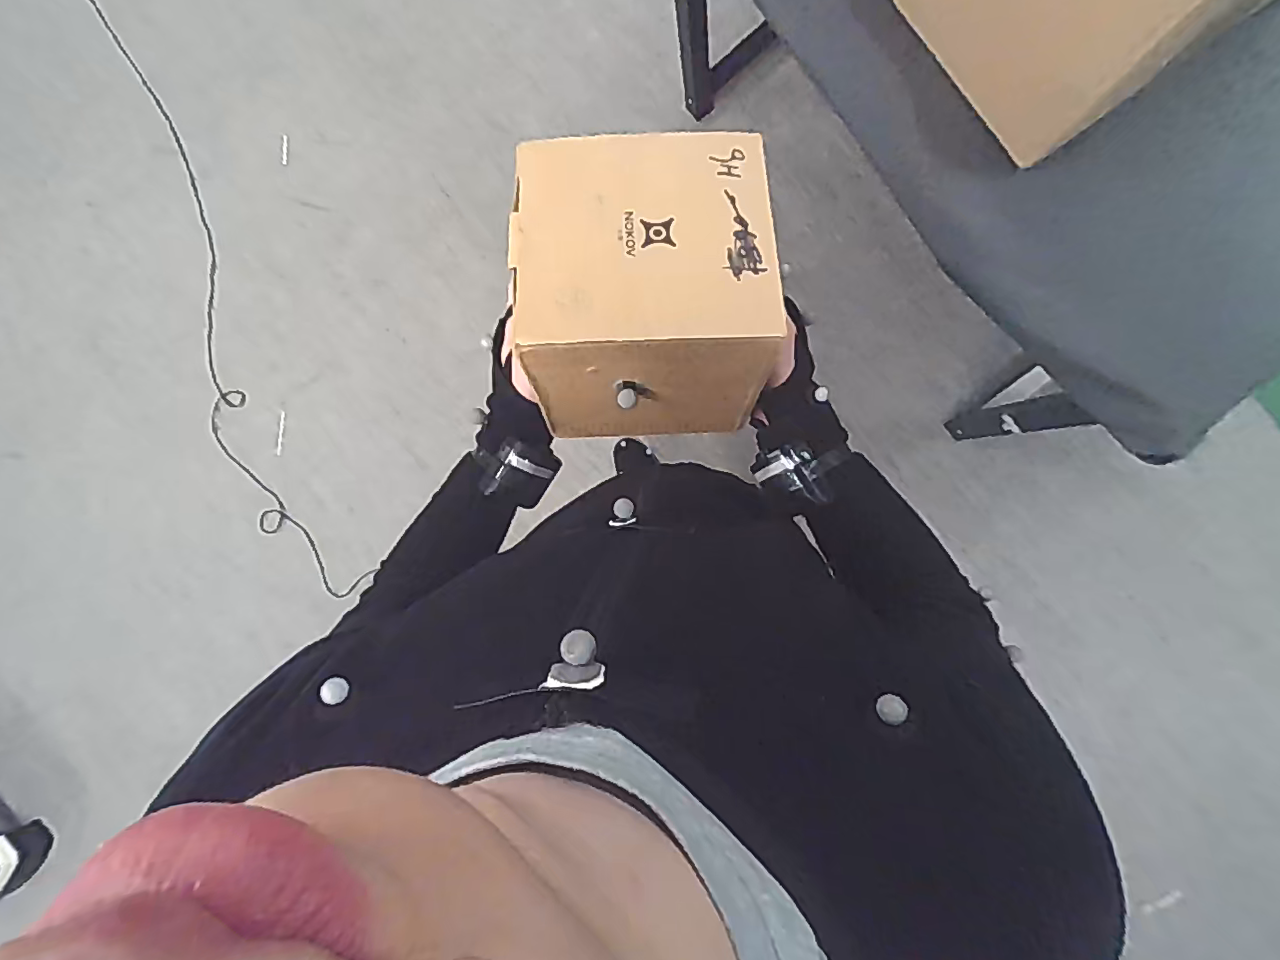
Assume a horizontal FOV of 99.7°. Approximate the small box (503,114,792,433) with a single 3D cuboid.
[{"bbox_3d":[0.003,-0.142,0.420,0.179,0.176,0.168,-3,73,-1],"label":"small box"}]
